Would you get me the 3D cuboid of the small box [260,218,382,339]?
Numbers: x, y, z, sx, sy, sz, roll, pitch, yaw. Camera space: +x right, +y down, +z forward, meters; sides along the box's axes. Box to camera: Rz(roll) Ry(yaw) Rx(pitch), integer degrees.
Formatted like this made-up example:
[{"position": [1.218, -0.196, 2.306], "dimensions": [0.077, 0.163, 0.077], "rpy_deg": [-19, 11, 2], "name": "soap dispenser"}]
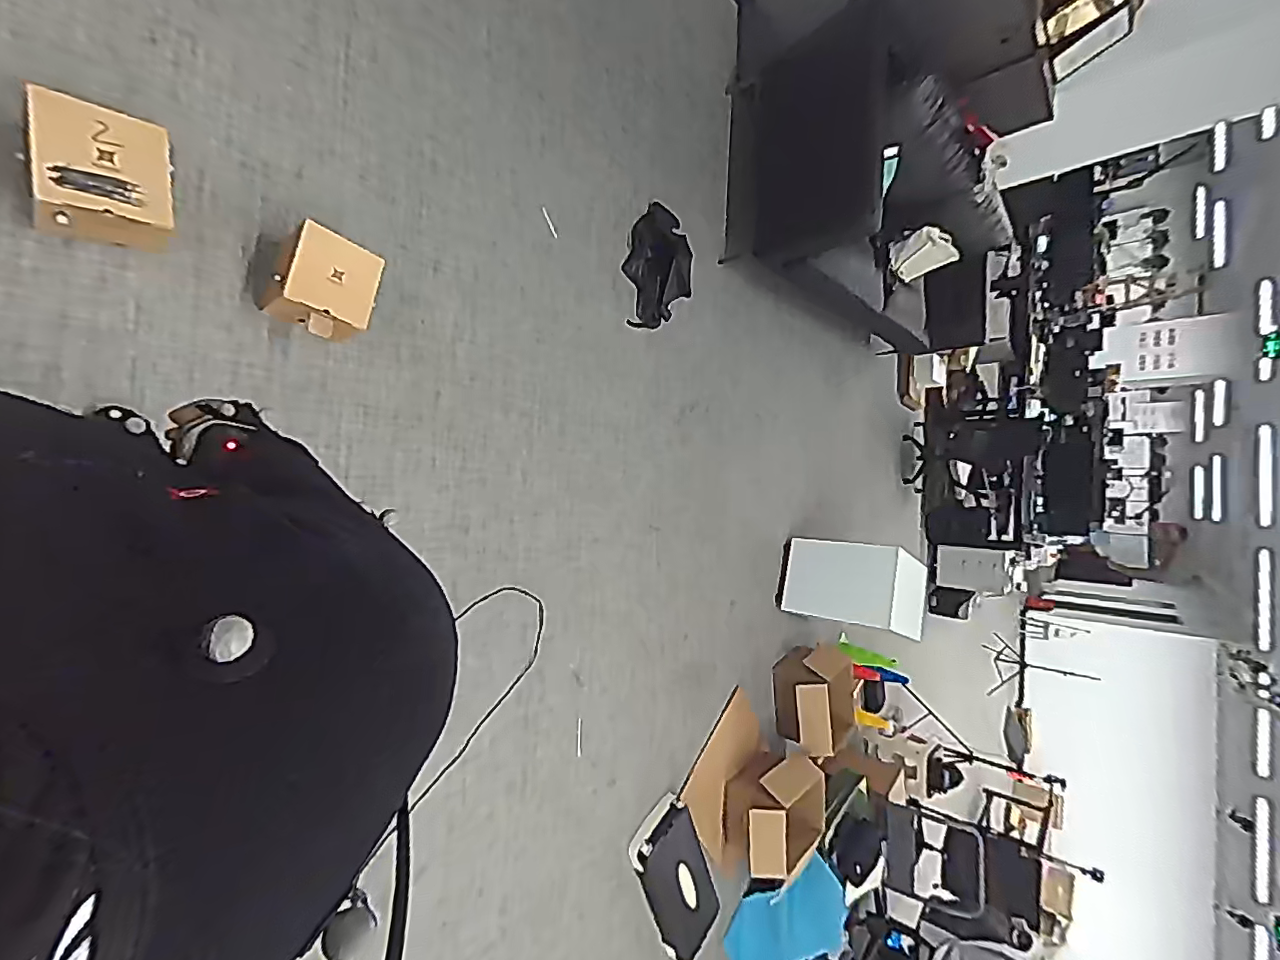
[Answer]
[{"position": [-0.701, -0.430, 1.186], "dimensions": [0.168, 0.176, 0.179], "rpy_deg": [20, 76, -48], "name": "small box"}]
